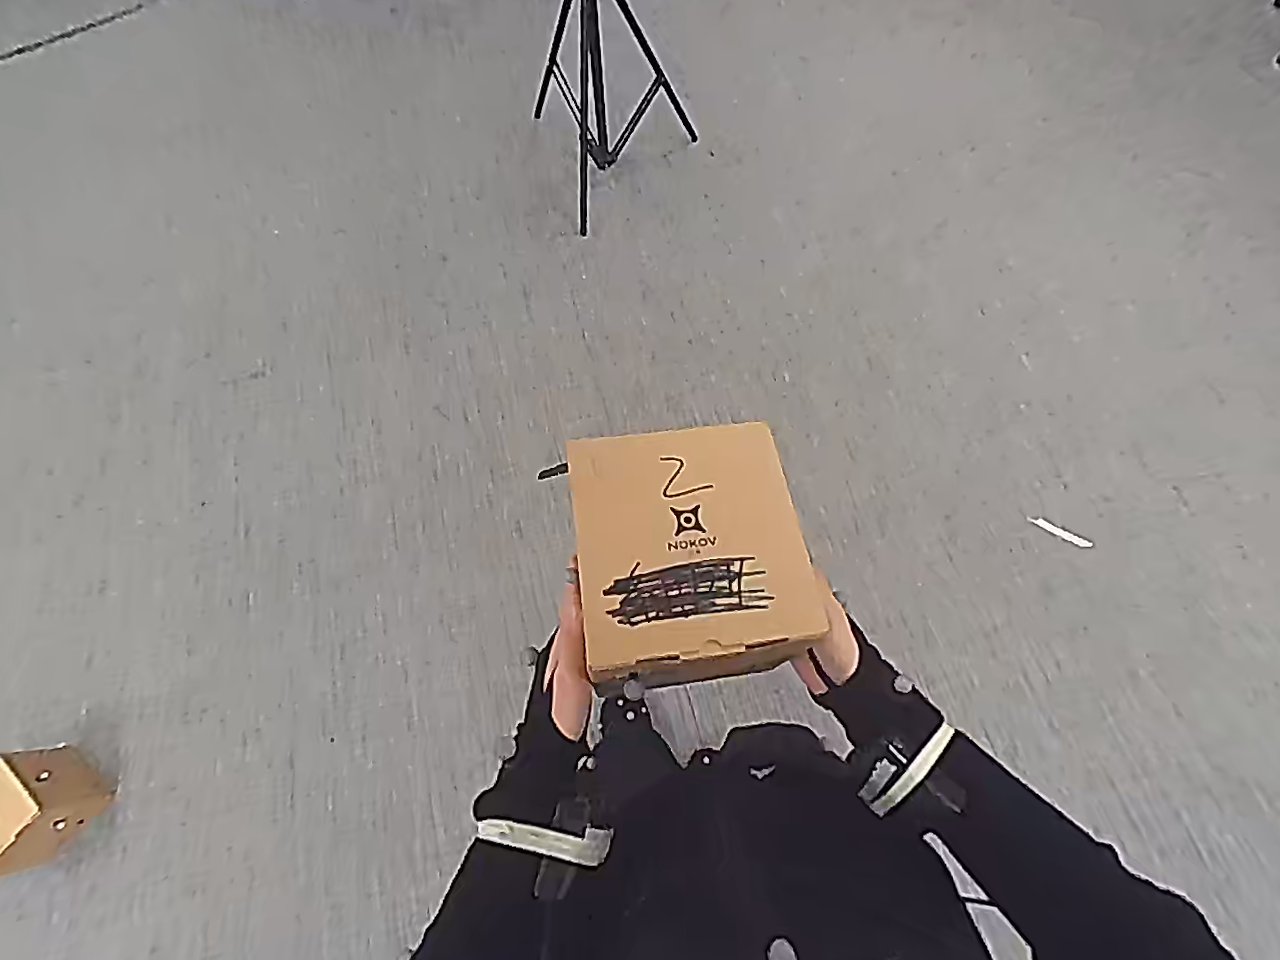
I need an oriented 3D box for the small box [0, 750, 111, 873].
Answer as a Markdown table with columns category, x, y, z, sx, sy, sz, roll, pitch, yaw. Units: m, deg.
| category | x | y | z | sx | sy | sz | roll | pitch | yaw |
| --- | --- | --- | --- | --- | --- | --- | --- | --- | --- |
| small box | -1.337 | 0.717 | 1.182 | 0.179 | 0.176 | 0.168 | 35 | 73 | 14 |
